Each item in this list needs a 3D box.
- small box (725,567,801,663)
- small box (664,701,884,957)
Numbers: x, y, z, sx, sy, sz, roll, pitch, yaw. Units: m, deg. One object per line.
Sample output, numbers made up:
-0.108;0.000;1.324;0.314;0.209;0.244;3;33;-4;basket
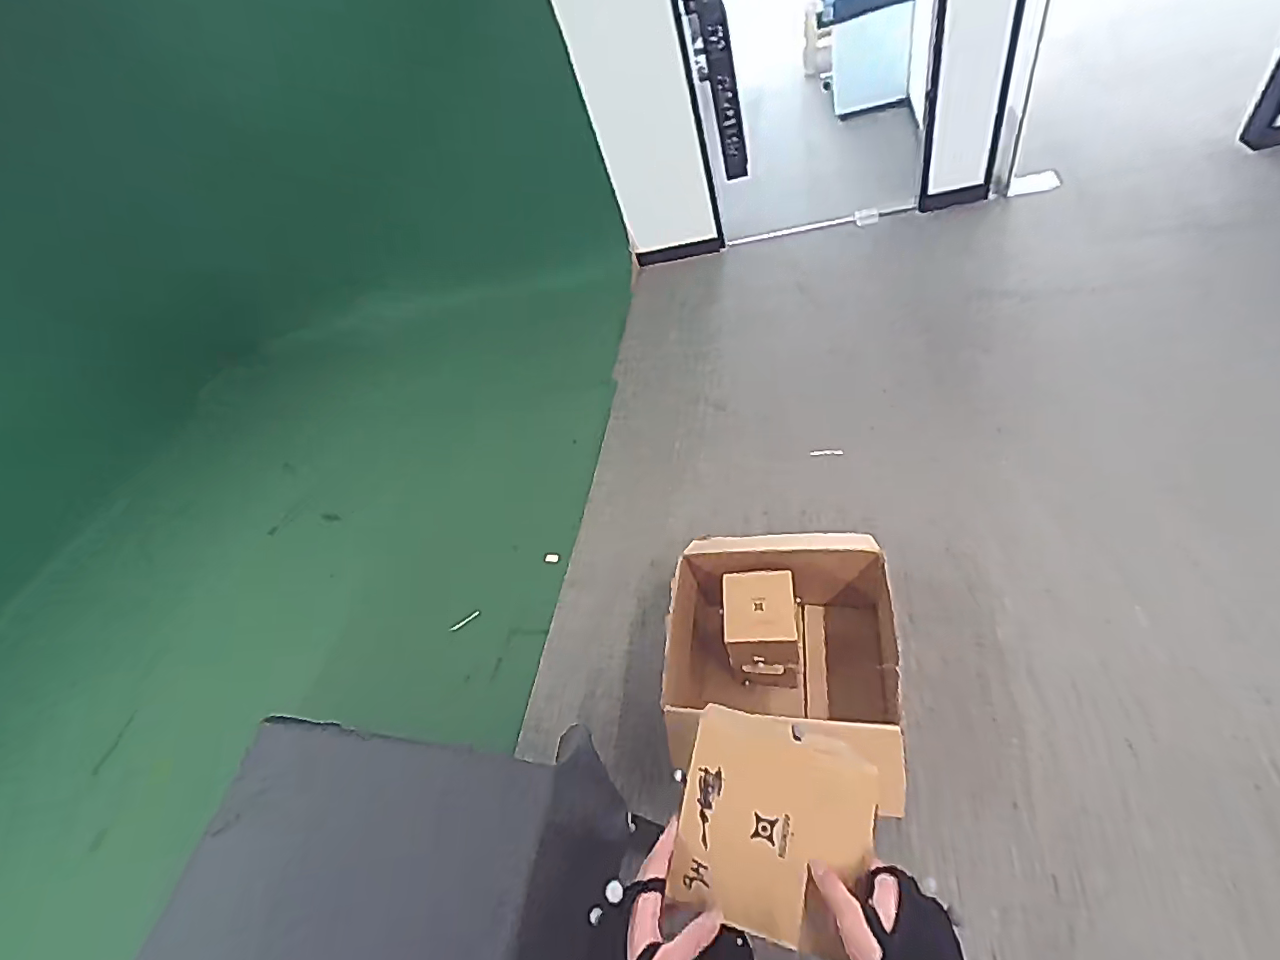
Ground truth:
0.299;0.330;1.314;0.168;0.176;0.179;-6;52;14;small box
0.136;0.343;0.577;0.179;0.176;0.168;12;73;13;small box
